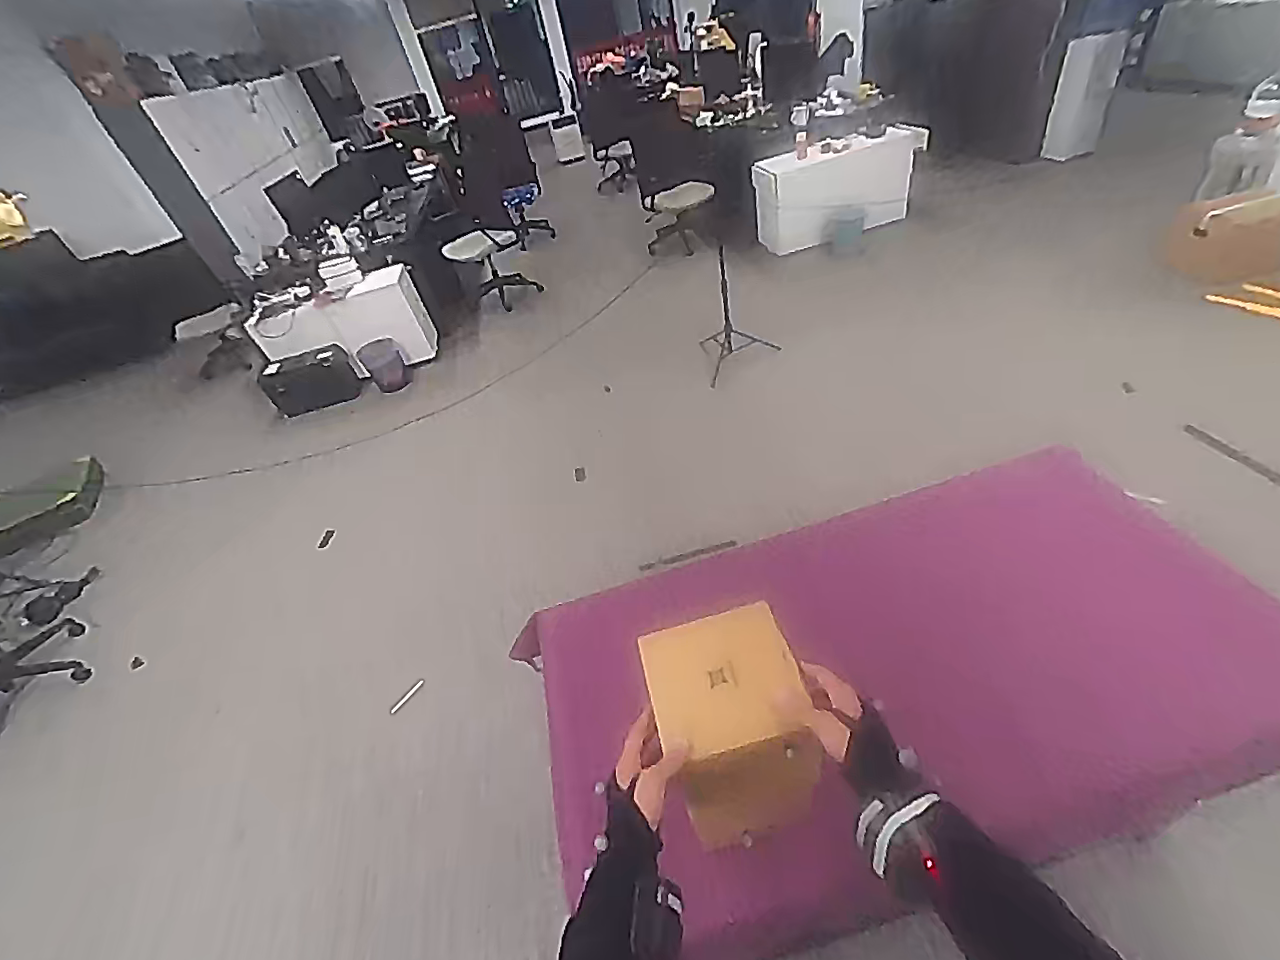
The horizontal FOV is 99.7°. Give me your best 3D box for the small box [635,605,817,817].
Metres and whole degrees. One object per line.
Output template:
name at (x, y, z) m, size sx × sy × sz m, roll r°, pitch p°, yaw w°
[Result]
small box at (0.108, 0.291, 0.676) m, size 0.179 × 0.176 × 0.168 m, roll -16°, pitch 41°, yaw -1°
